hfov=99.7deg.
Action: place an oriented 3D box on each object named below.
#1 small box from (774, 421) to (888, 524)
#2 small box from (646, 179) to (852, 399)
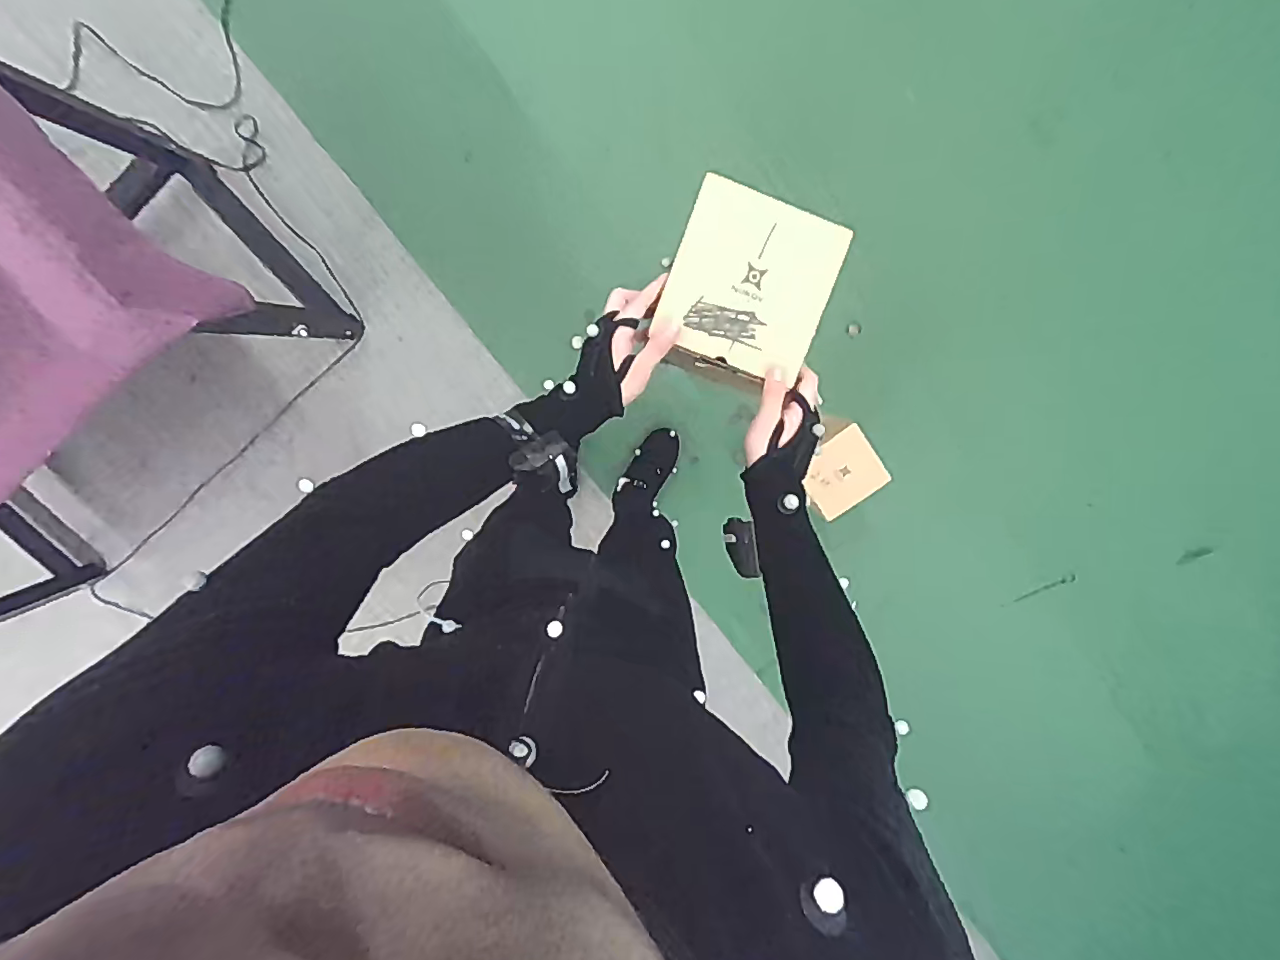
[{"bbox_3d":[0.453,-0.026,1.313,0.179,0.176,0.168,-36,100,7],"label":"small box"},{"bbox_3d":[0.111,-0.203,0.633,0.168,0.176,0.179,20,95,-4],"label":"small box"}]
